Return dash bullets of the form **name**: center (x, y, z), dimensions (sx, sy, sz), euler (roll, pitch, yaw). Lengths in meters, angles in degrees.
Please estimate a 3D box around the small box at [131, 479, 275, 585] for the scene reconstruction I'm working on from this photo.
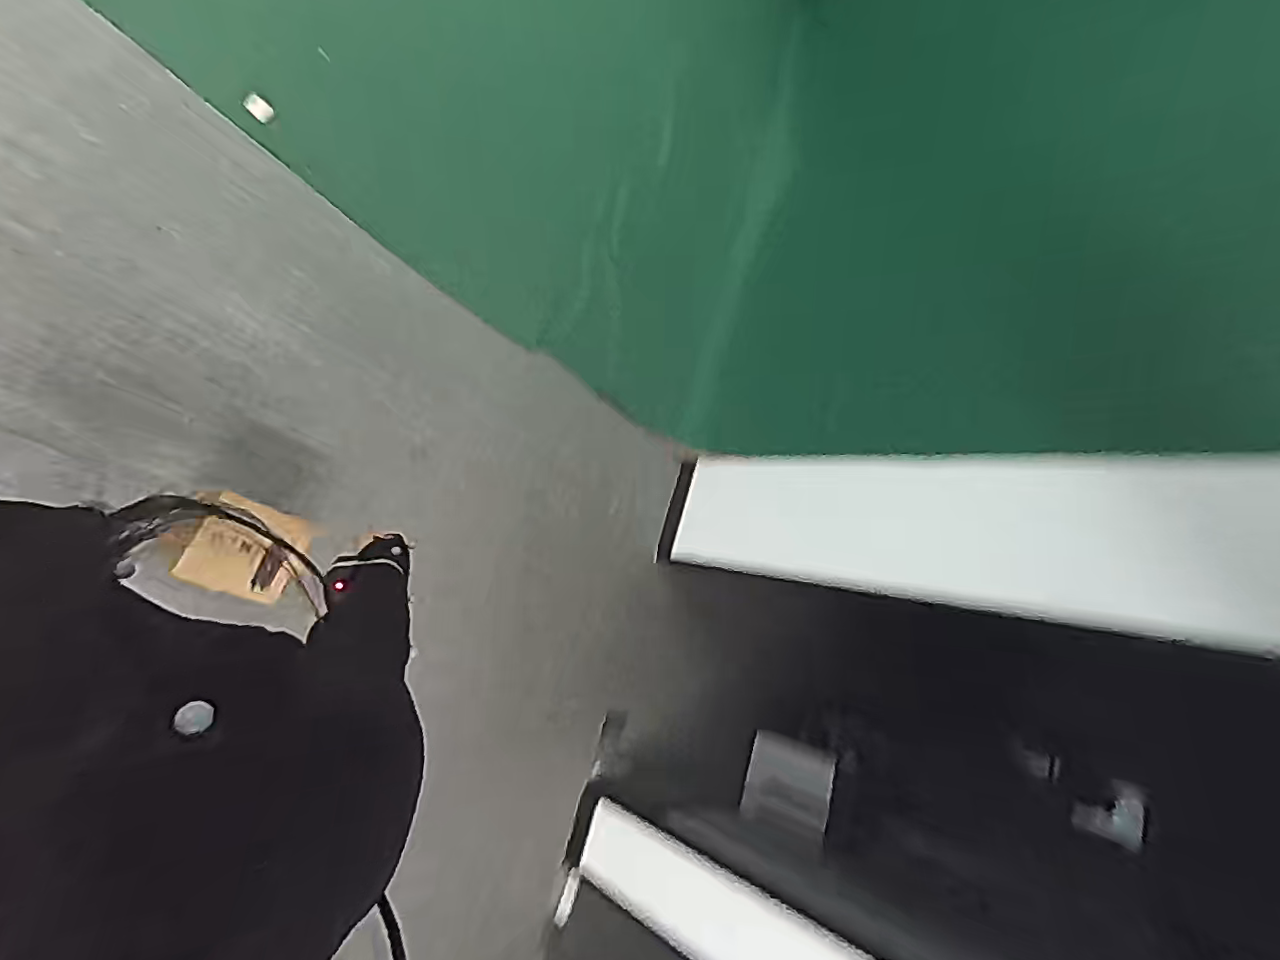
- **small box**: center (-0.936, 0.108, 1.156), dimensions (0.179, 0.176, 0.168), euler (38, 65, -43)
